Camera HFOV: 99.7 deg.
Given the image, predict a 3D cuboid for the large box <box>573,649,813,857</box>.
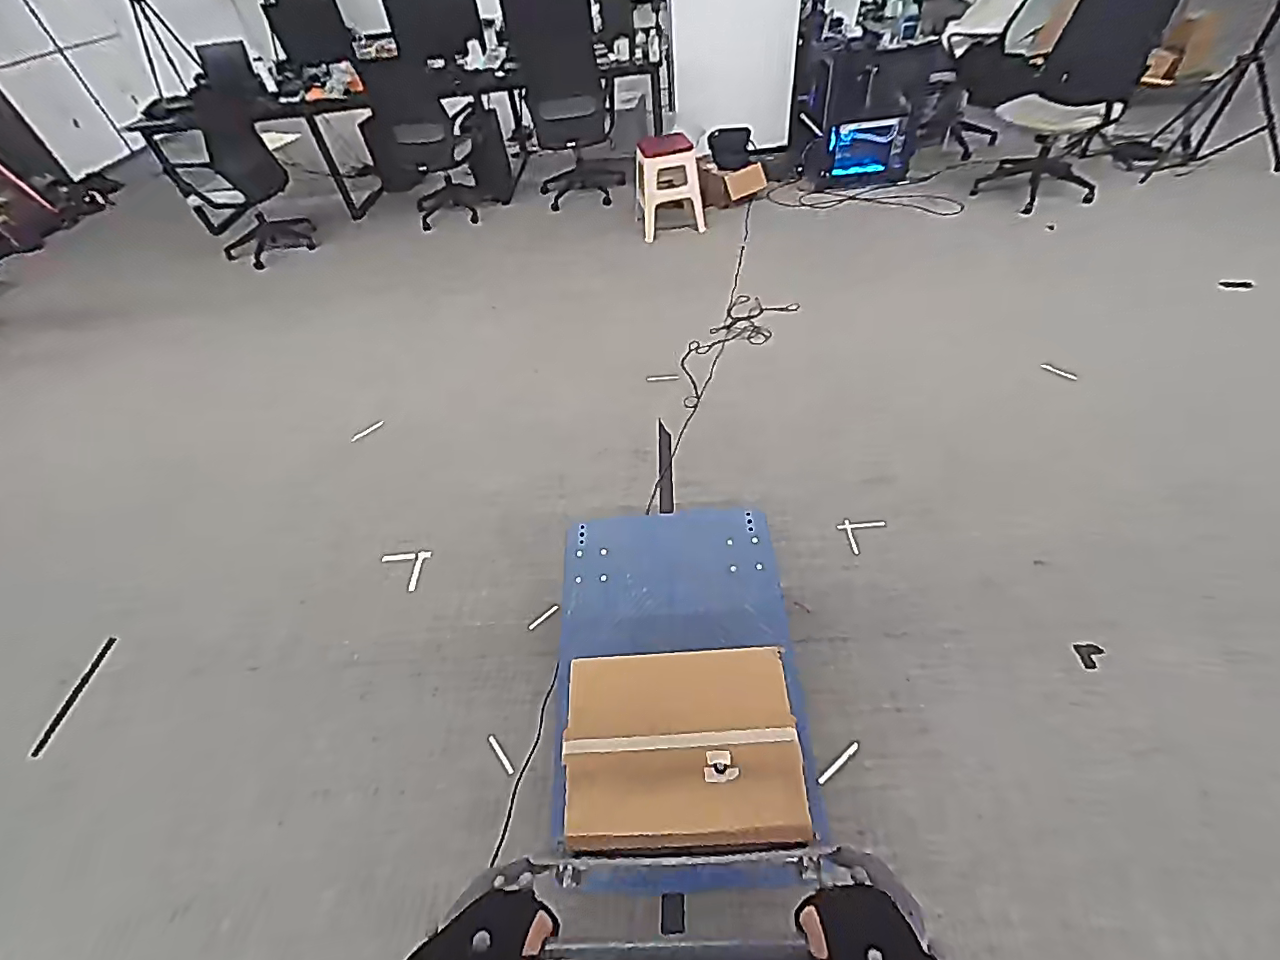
[{"bbox_3d":[0.089,0.557,1.088,0.408,0.320,0.320,-5,55,3],"label":"large box"}]
